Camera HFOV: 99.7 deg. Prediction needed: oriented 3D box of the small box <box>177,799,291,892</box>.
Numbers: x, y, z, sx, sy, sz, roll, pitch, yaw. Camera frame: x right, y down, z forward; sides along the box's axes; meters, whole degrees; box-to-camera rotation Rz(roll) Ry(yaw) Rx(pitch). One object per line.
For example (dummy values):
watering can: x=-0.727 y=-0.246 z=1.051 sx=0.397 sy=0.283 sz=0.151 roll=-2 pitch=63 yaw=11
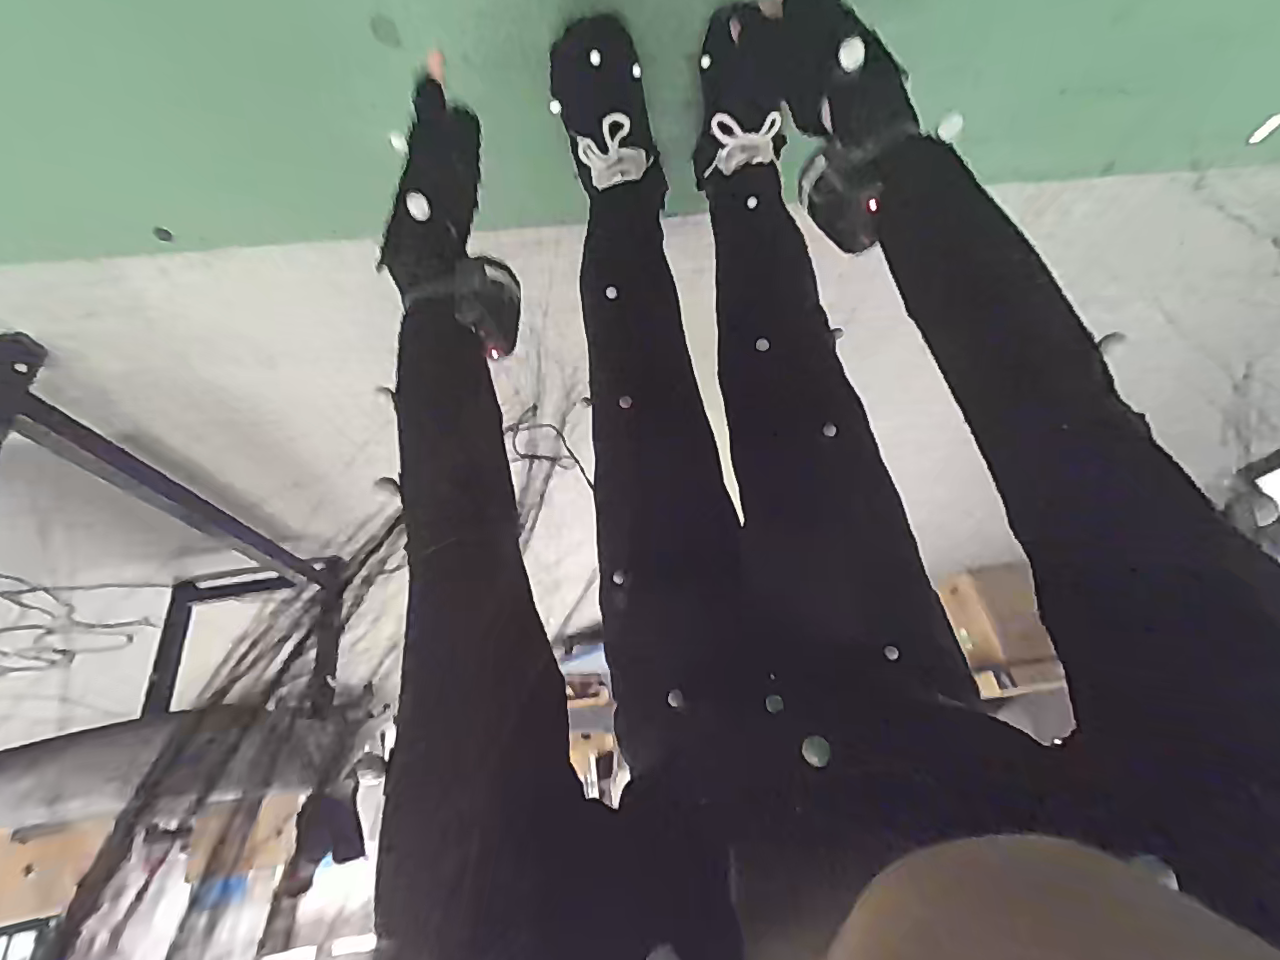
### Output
small box: x=-1.056 y=0.952 z=1.423 sx=0.168 sy=0.176 sz=0.179 roll=-8 pitch=152 yaw=-4

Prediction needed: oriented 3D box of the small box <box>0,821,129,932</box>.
small box: x=-1.287 y=0.863 z=1.182 sx=0.168 sy=0.176 sz=0.179 roll=-8 pitch=151 yaw=-7
